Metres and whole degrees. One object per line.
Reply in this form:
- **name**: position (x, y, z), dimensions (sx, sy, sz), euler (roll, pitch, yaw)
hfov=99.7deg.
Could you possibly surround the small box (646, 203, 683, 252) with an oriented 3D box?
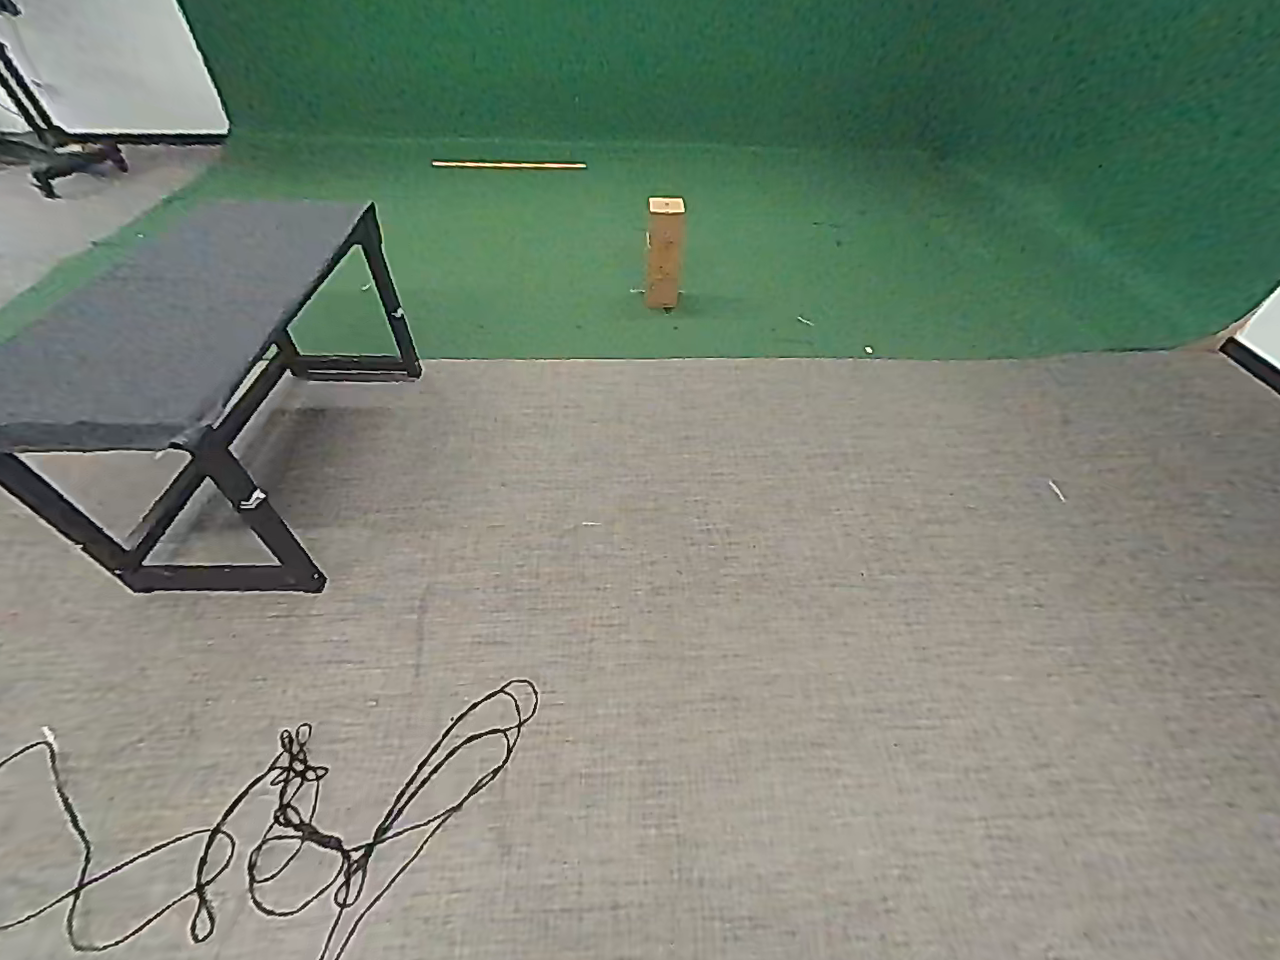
- **small box**: position (0.118, -1.258, 2.688), dimensions (0.168, 0.176, 0.179), euler (1, 47, -3)

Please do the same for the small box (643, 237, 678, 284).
- **small box**: position (0.103, -1.140, 2.803), dimensions (0.168, 0.176, 0.179), euler (0, 46, -4)
